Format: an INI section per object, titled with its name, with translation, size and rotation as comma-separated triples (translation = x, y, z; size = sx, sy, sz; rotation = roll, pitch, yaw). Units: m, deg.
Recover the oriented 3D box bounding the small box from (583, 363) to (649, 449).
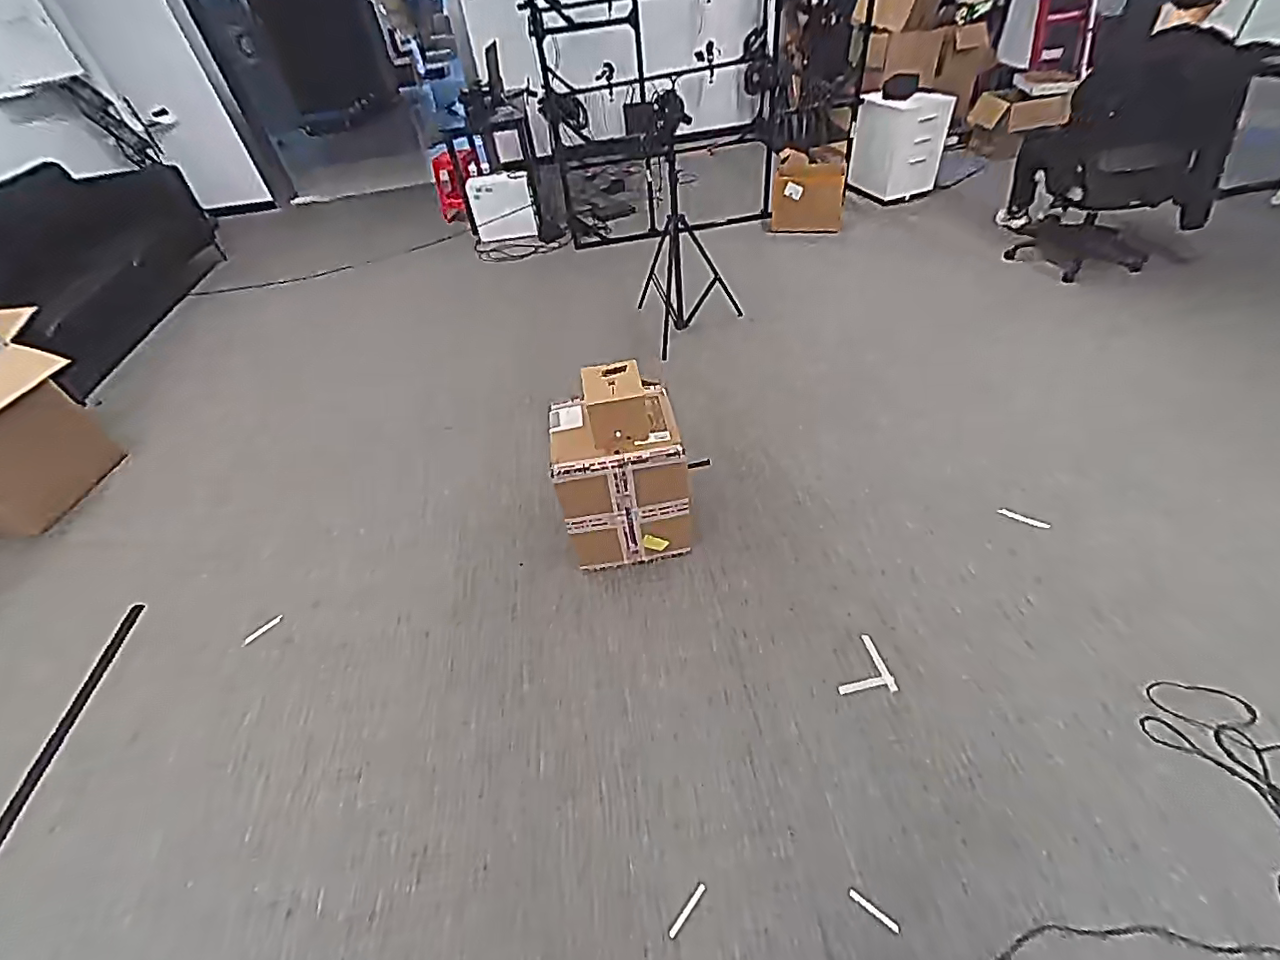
[small box]
translation = -0.070, -0.215, 1.590
size = 0.168, 0.176, 0.179
rotation = -10, 48, -2
